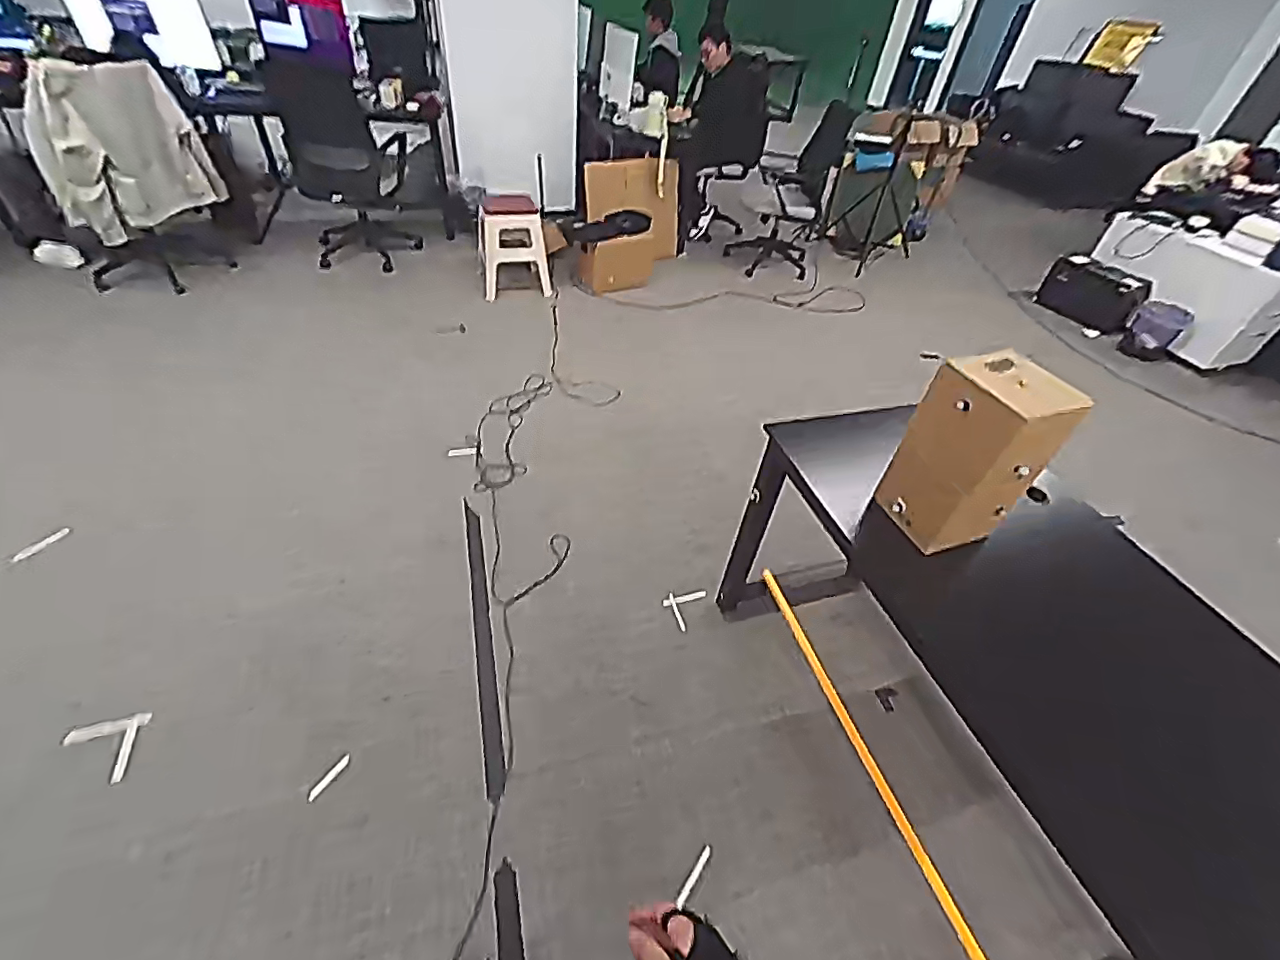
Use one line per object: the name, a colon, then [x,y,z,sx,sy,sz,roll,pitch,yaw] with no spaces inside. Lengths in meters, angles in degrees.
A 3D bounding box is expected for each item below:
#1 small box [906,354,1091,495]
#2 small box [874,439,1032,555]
small box: [0.613,-0.100,0.952,0.168,0.176,0.179,-12,47,-20]
small box: [0.602,0.021,1.064,0.179,0.176,0.168,-12,46,-18]
